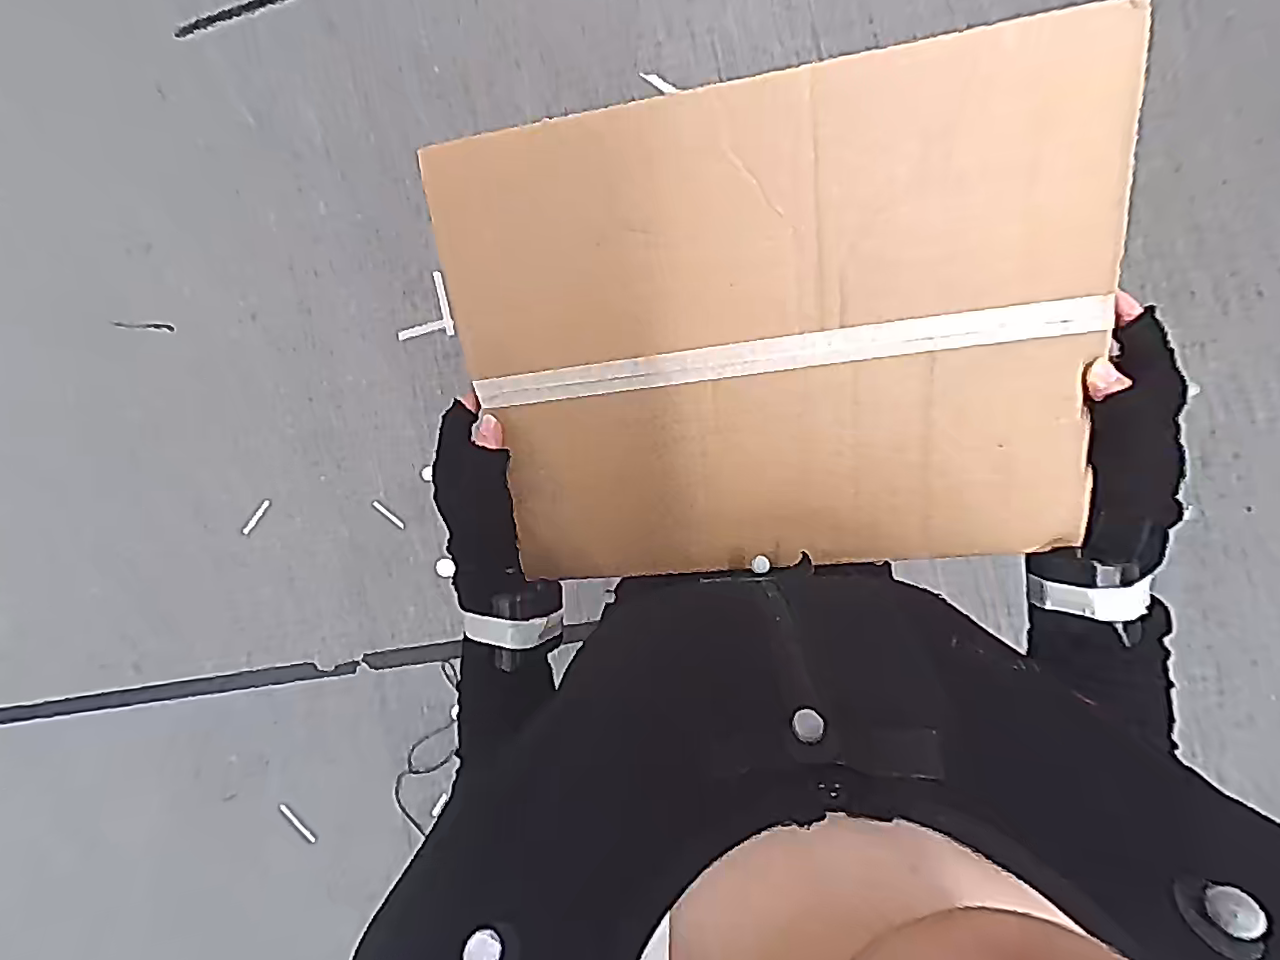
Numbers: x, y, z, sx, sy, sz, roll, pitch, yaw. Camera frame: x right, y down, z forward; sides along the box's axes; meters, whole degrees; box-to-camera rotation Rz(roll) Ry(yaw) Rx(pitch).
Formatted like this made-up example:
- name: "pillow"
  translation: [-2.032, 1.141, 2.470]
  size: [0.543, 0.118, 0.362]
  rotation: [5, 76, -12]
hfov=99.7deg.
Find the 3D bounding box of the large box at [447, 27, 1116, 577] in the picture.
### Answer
- name: "large box"
  translation: [0.103, -0.131, 0.510]
  size: [0.408, 0.320, 0.320]
  rotation: [-5, 110, 10]
